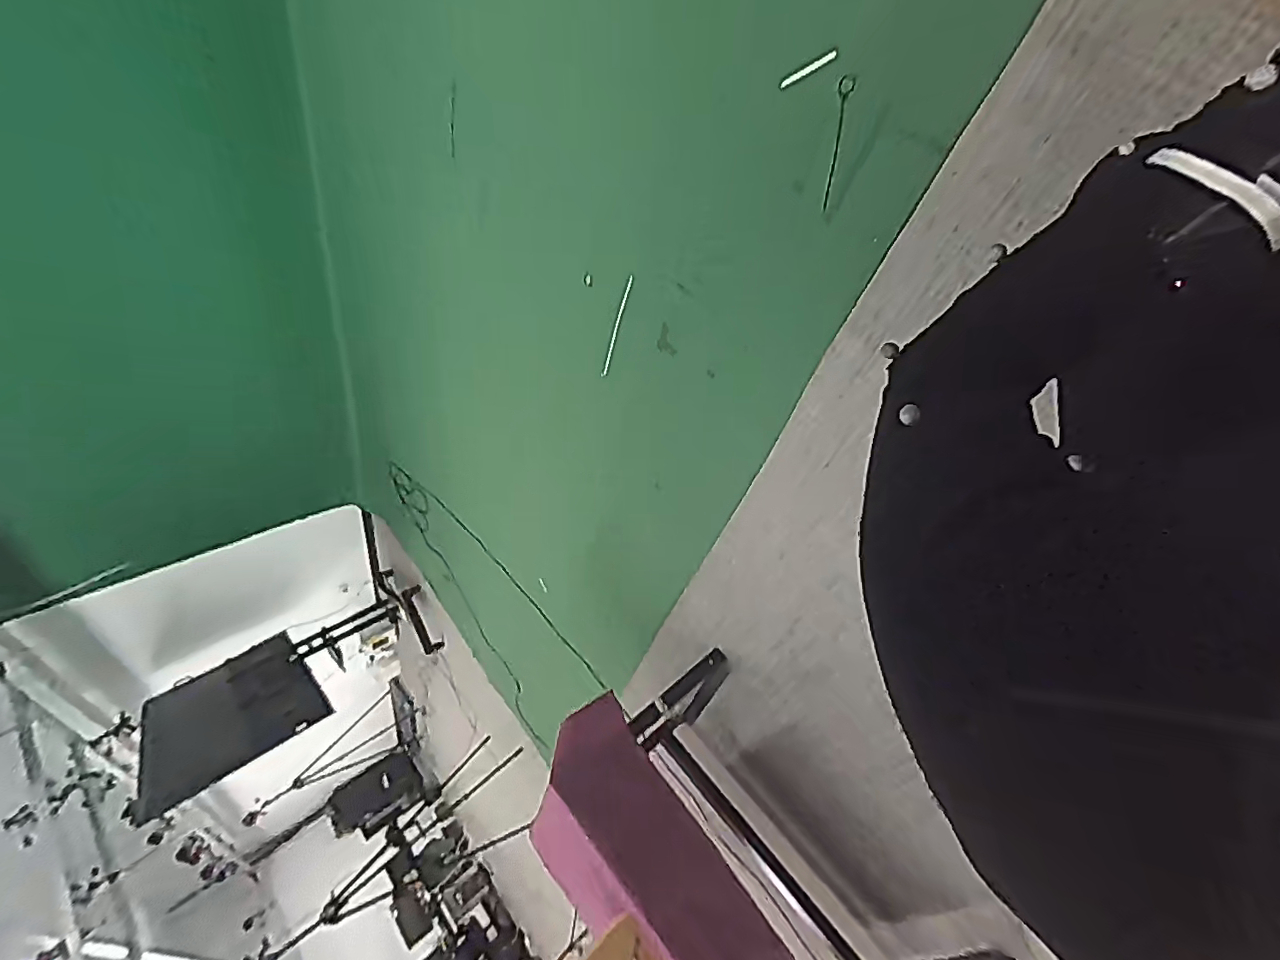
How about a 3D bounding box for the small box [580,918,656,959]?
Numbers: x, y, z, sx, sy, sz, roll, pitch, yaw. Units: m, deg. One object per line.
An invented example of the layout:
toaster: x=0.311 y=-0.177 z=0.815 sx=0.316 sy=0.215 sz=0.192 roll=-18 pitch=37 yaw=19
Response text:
small box: x=-0.059 y=1.257 z=1.366 sx=0.168 sy=0.176 sz=0.179 roll=45 pitch=138 yaw=23
